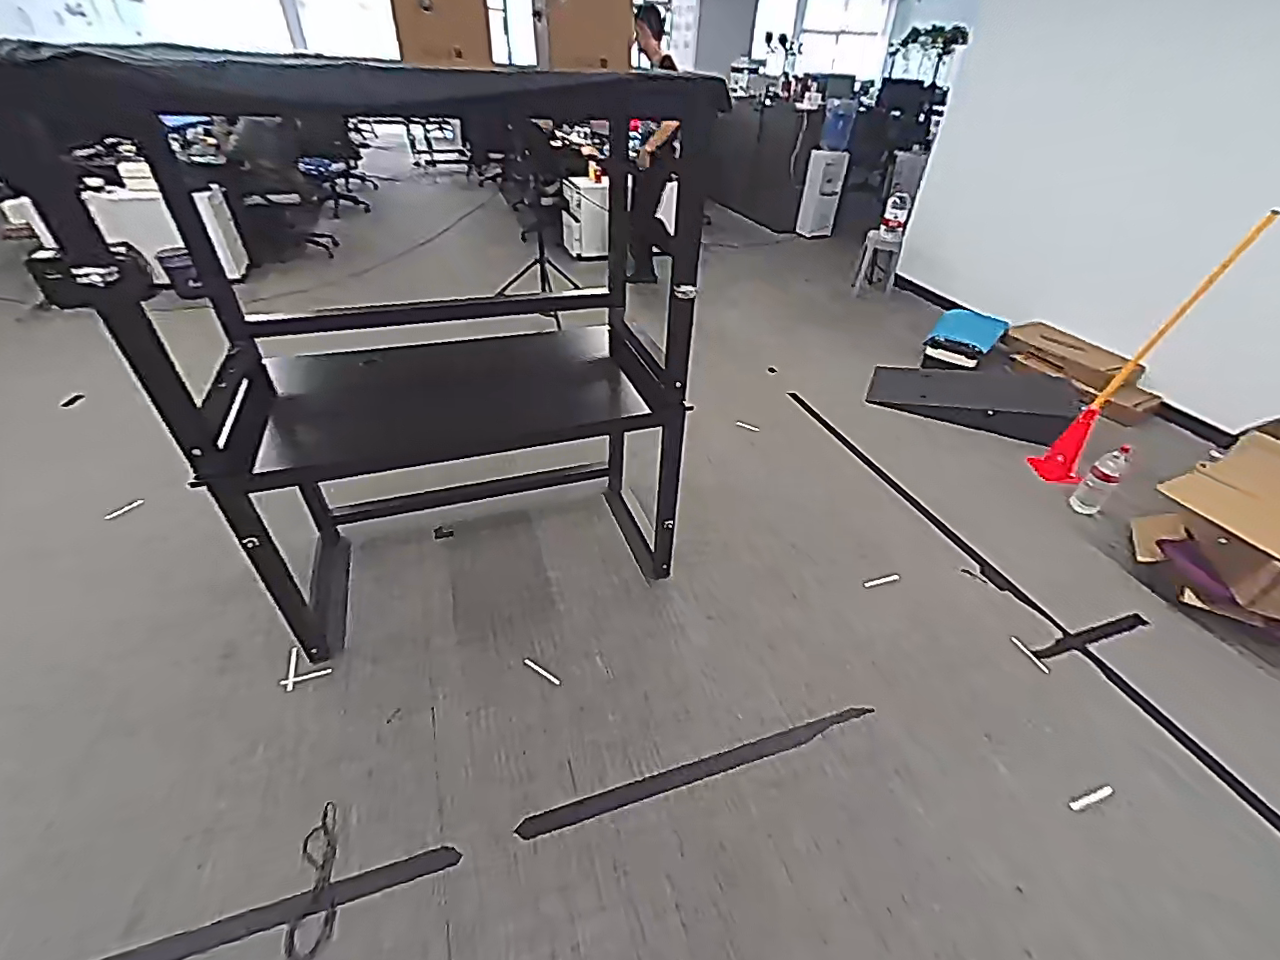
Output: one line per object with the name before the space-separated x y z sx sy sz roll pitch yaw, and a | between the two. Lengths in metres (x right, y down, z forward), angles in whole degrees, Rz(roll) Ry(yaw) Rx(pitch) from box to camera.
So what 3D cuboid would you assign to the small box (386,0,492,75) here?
small box | -0.372 -0.856 0.998 0.168 0.176 0.179 -9 38 -14
